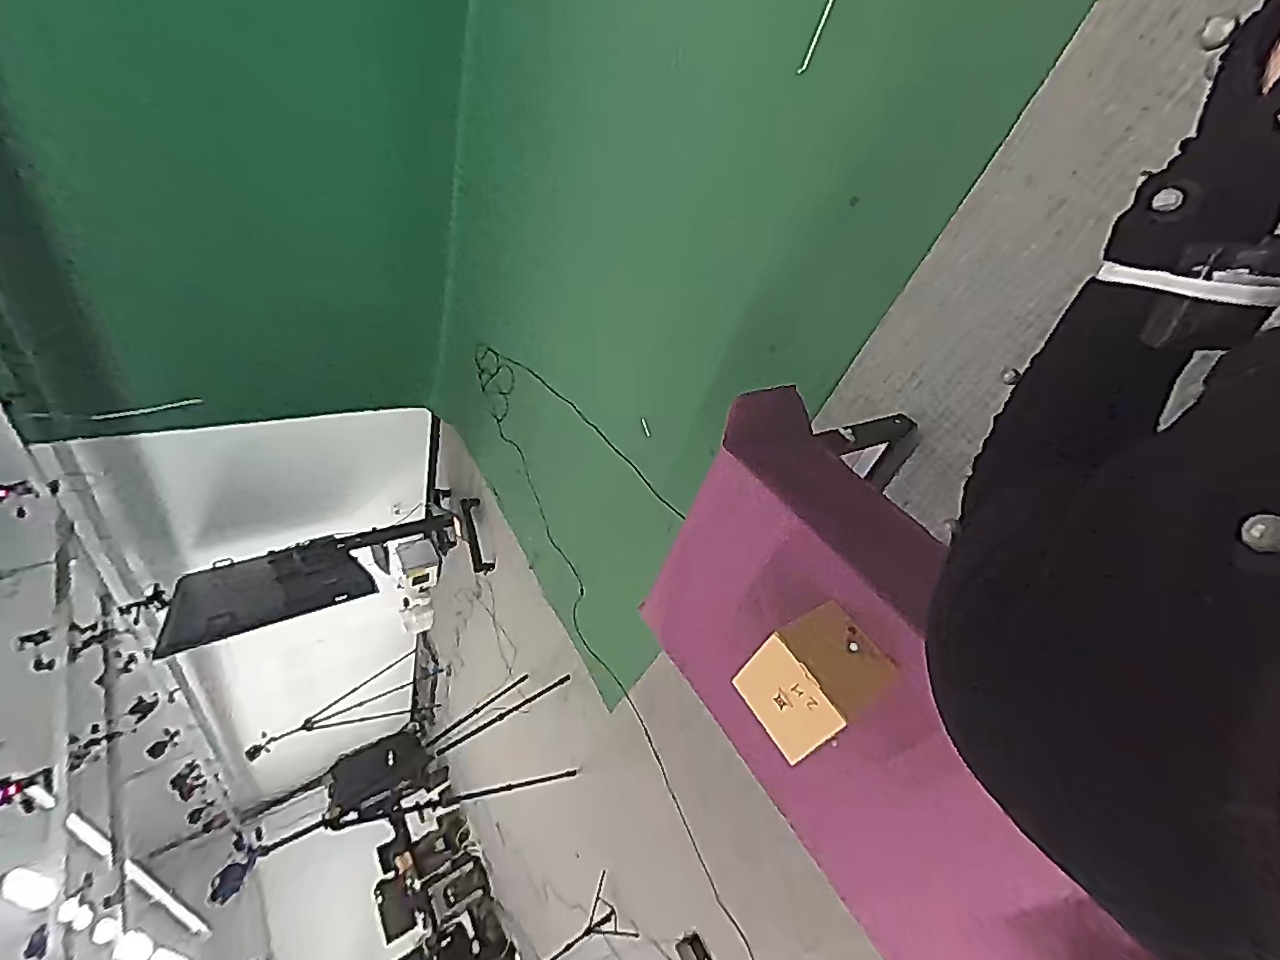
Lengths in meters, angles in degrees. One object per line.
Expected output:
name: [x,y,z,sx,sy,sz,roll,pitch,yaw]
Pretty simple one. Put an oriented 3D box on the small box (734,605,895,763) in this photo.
small box: [0.302,0.348,0.939,0.168,0.176,0.179,51,137,29]
